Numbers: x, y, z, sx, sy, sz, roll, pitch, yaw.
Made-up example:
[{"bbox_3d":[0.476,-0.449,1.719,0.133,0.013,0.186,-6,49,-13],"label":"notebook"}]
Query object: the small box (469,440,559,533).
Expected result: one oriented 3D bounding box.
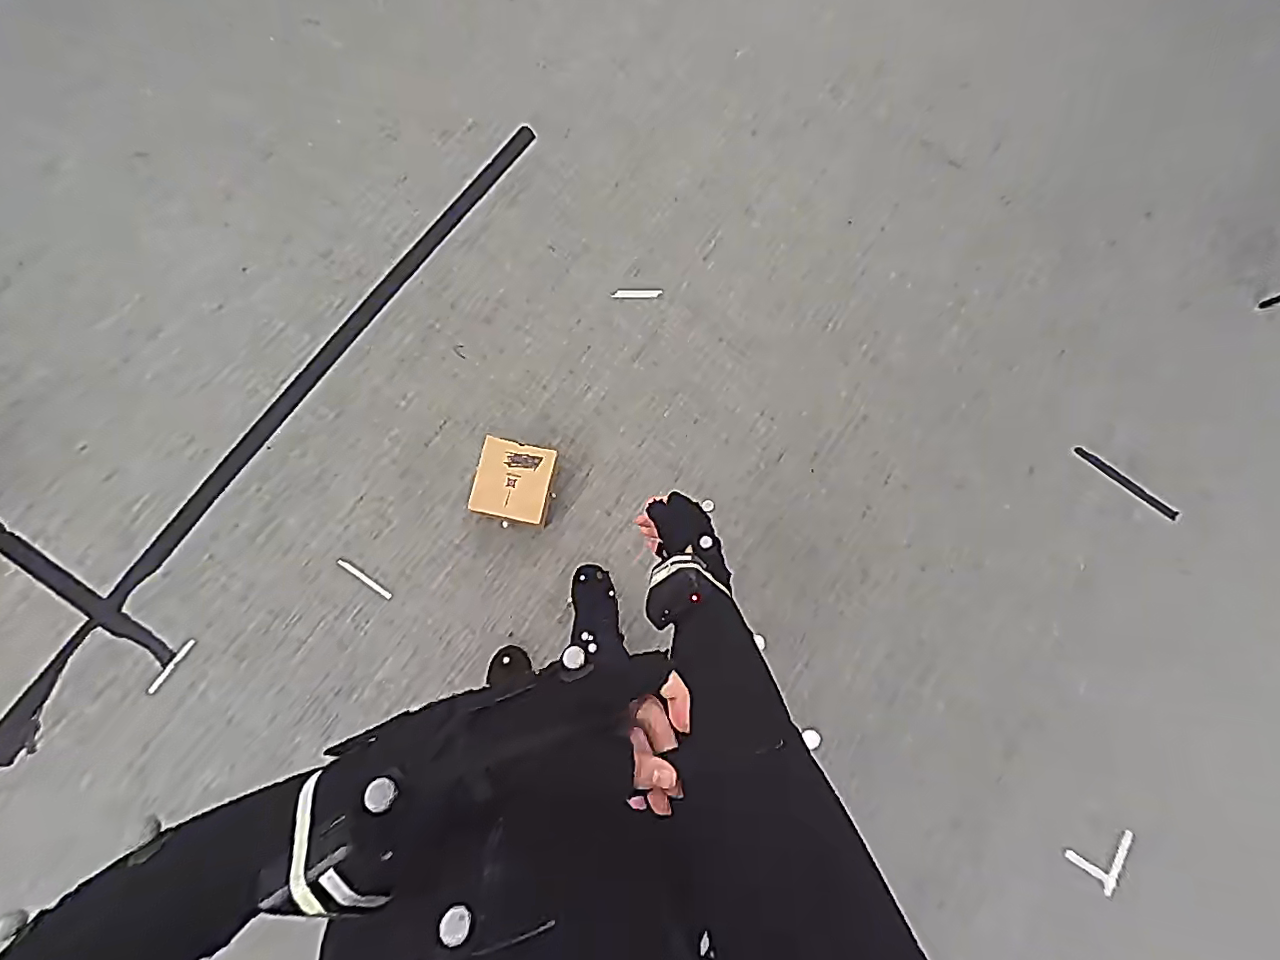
[{"bbox_3d":[-0.294,0.022,1.294,0.168,0.176,0.179,13,80,-4],"label":"small box"}]
